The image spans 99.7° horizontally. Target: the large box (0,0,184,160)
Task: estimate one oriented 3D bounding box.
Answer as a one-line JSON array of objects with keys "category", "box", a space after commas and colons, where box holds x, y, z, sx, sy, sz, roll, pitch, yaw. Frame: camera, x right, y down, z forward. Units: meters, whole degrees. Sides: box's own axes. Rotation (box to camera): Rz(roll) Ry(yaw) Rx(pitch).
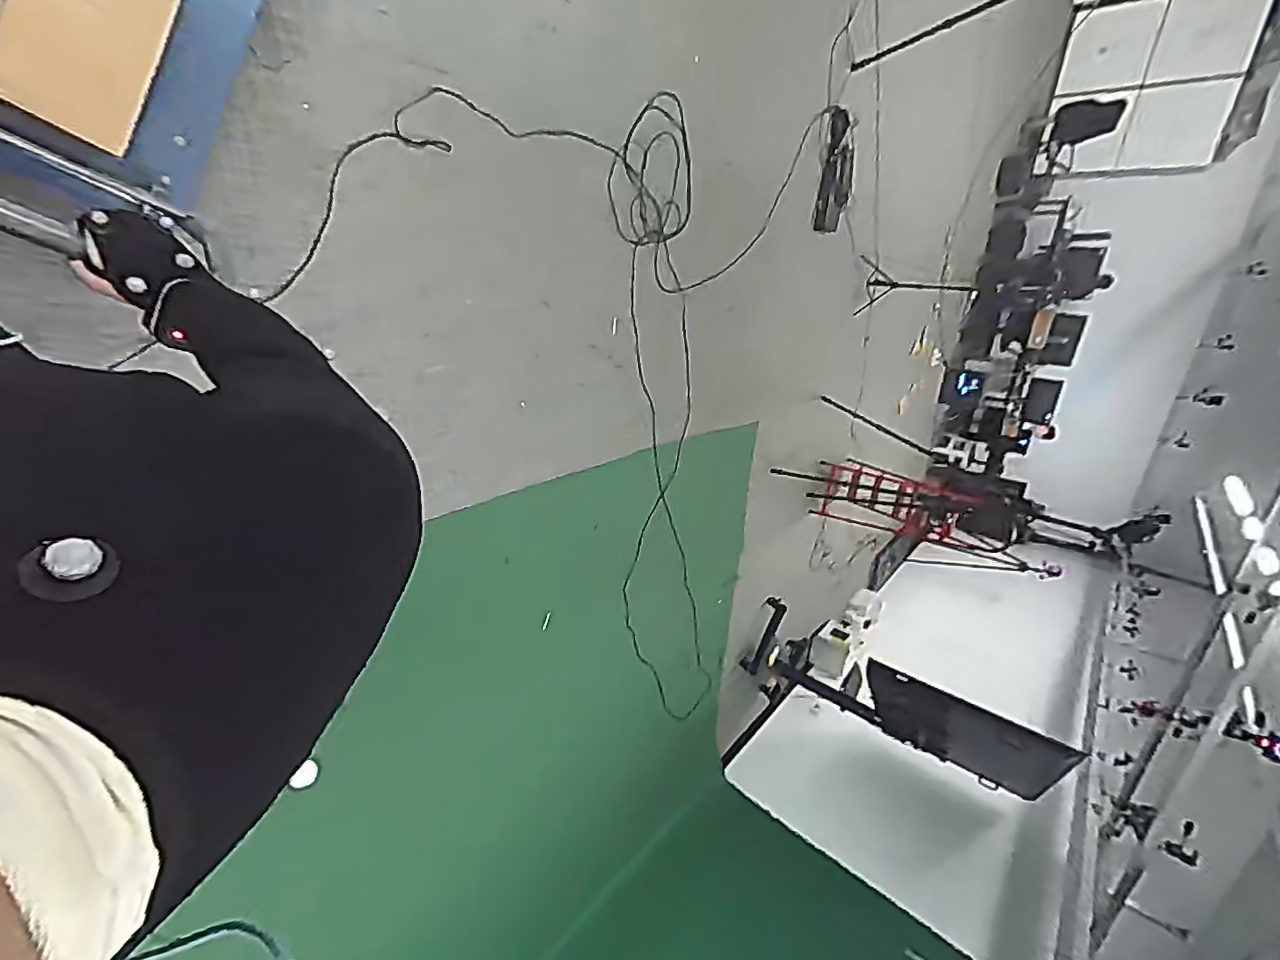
[{"category": "large box", "box": [-0.870, -0.734, 0.754, 0.320, 0.320, 0.408, 19, 96, -53]}]
